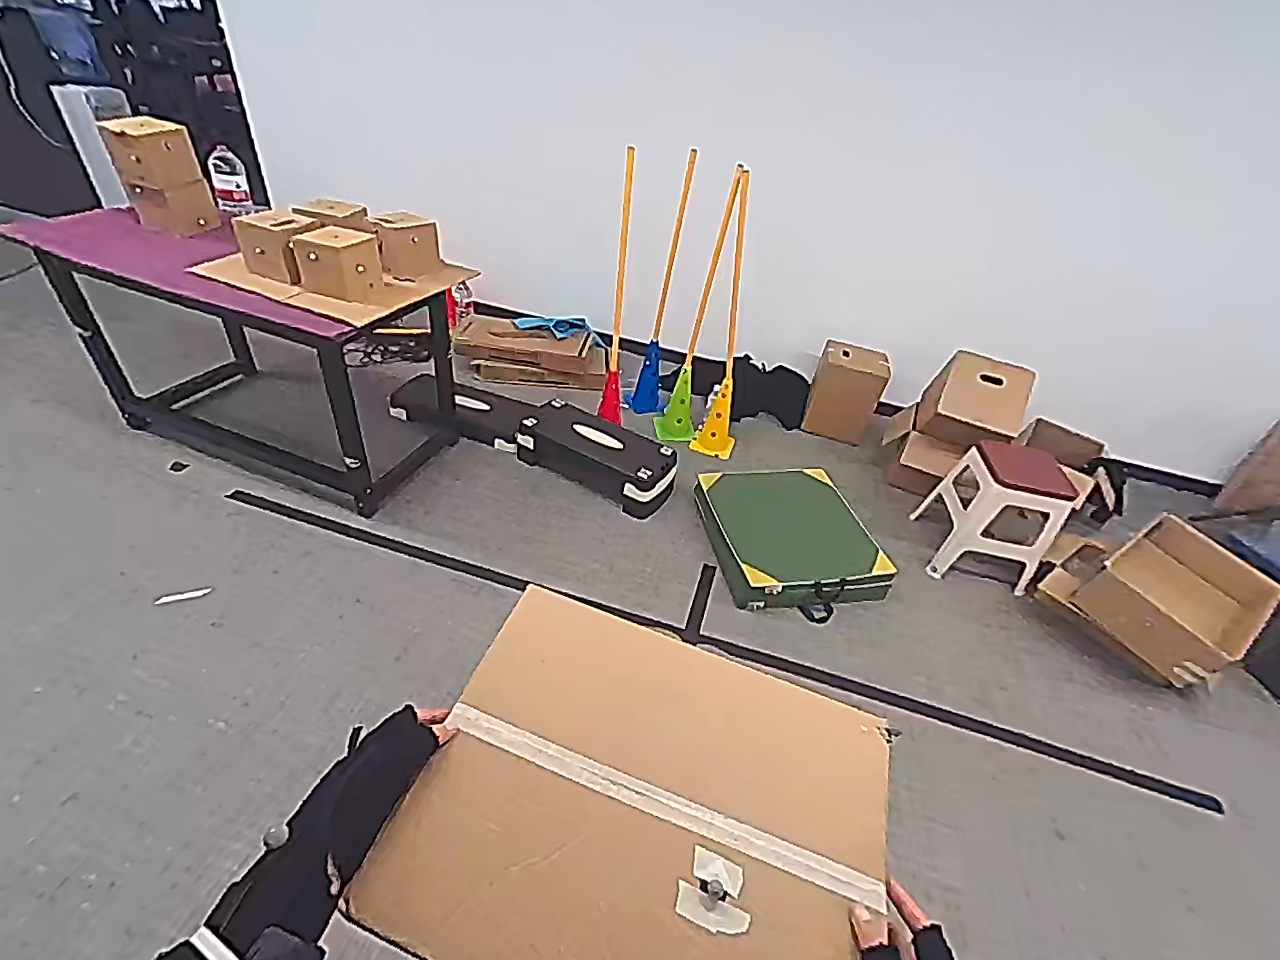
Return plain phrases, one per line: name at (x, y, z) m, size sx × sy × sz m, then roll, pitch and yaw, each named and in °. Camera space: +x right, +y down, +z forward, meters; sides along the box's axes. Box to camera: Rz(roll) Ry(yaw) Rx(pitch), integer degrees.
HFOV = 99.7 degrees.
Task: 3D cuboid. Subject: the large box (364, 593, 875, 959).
large box at (-0.005, 0.391, 0.603) m, size 0.408 × 0.320 × 0.320 m, roll 19°, pitch 47°, yaw 9°
